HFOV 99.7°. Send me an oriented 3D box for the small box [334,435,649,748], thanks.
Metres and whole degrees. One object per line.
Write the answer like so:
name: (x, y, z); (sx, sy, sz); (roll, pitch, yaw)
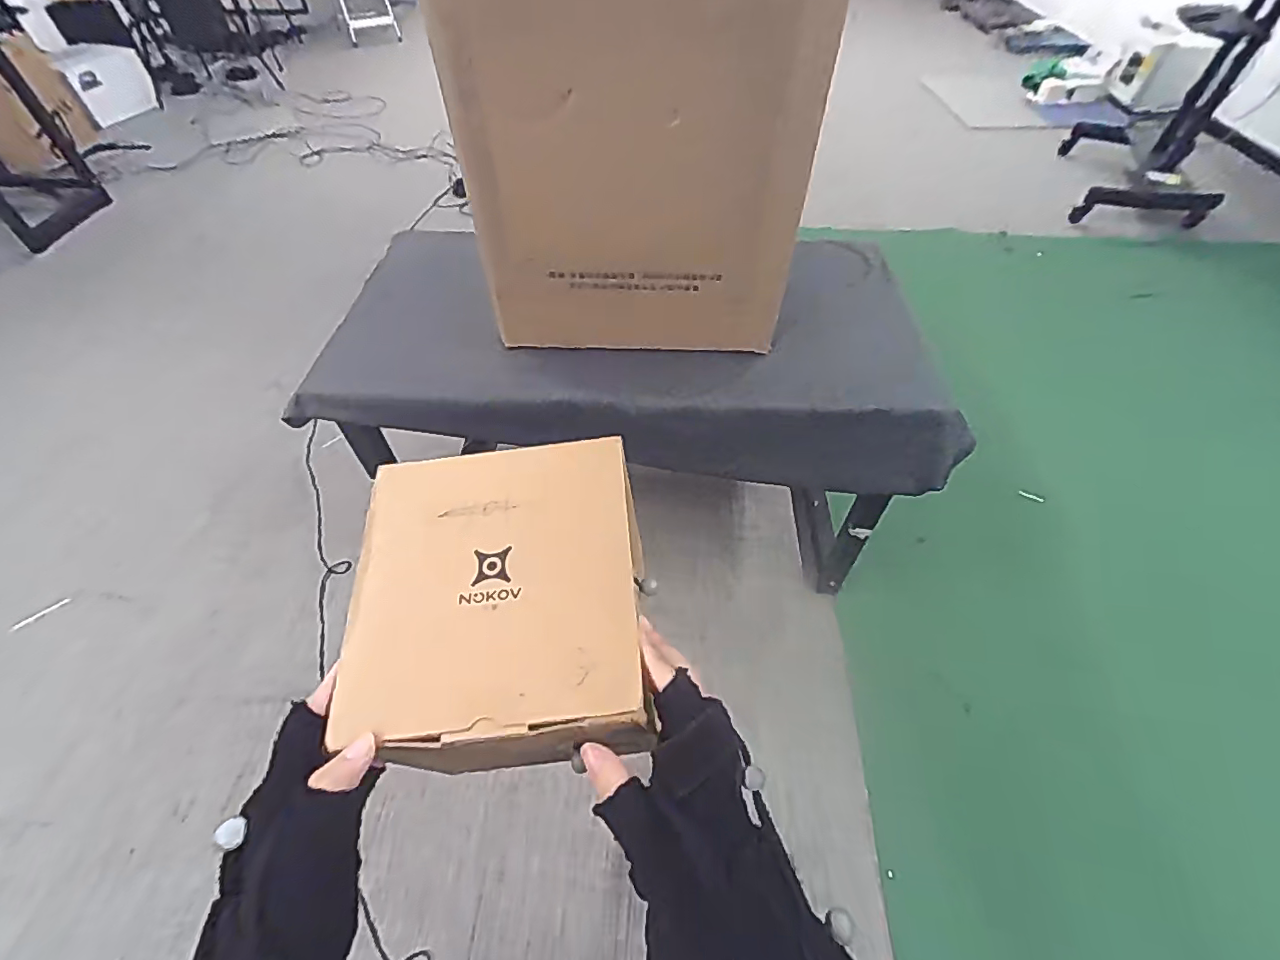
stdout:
small box: (-0.085, 0.092, 0.399); (0.168, 0.176, 0.179); (-6, 57, 1)
